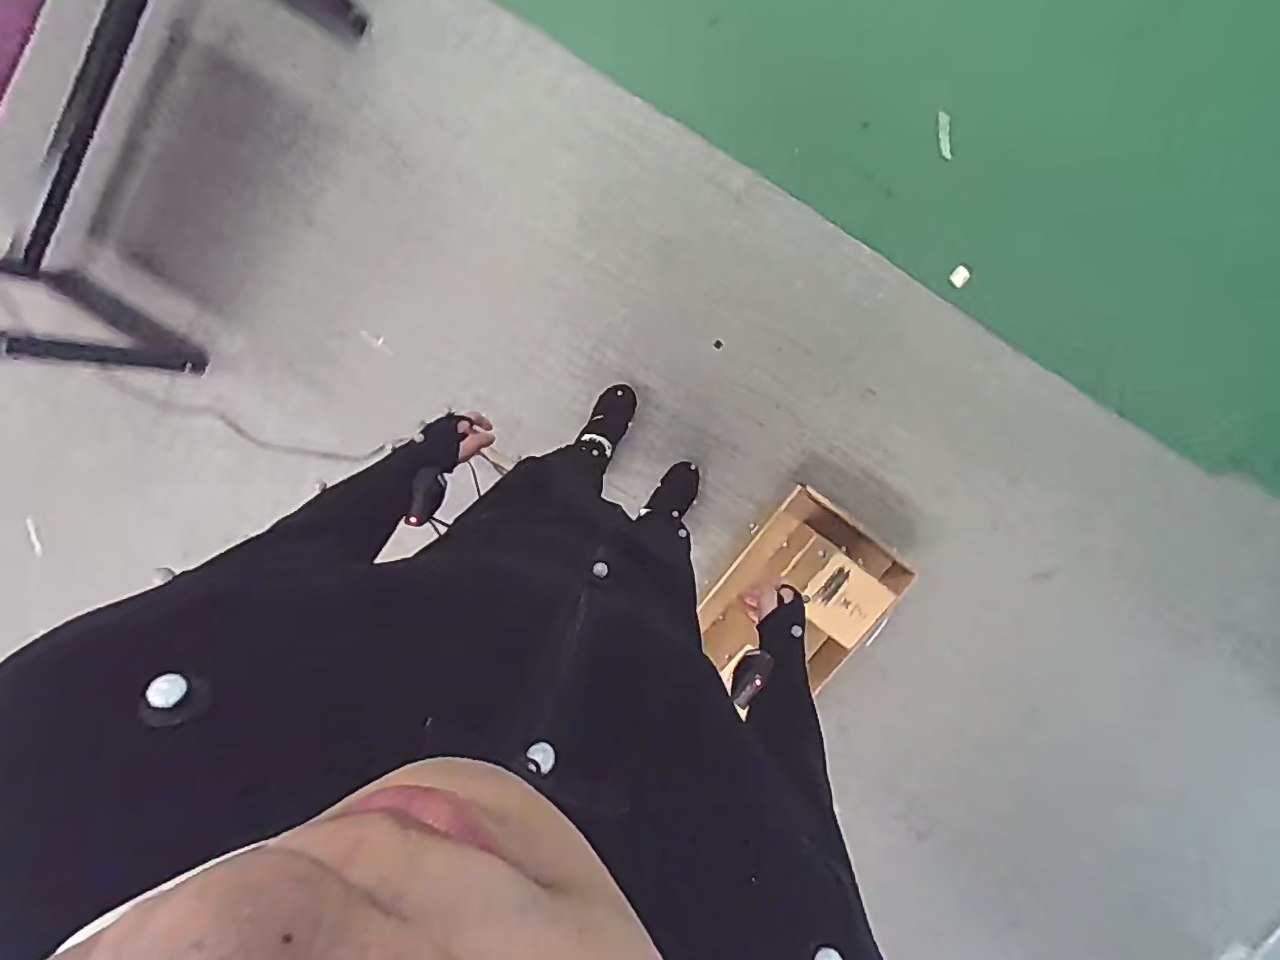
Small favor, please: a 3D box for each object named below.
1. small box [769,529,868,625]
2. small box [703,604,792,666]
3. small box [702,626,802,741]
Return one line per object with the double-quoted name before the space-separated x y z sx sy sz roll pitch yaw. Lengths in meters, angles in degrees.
"small box" 0.476 0.255 1.472 0.179 0.176 0.168 38 98 -1
"small box" 0.292 0.477 1.514 0.179 0.176 0.168 40 98 0
"small box" 0.271 0.498 1.352 0.179 0.176 0.168 41 98 -1
